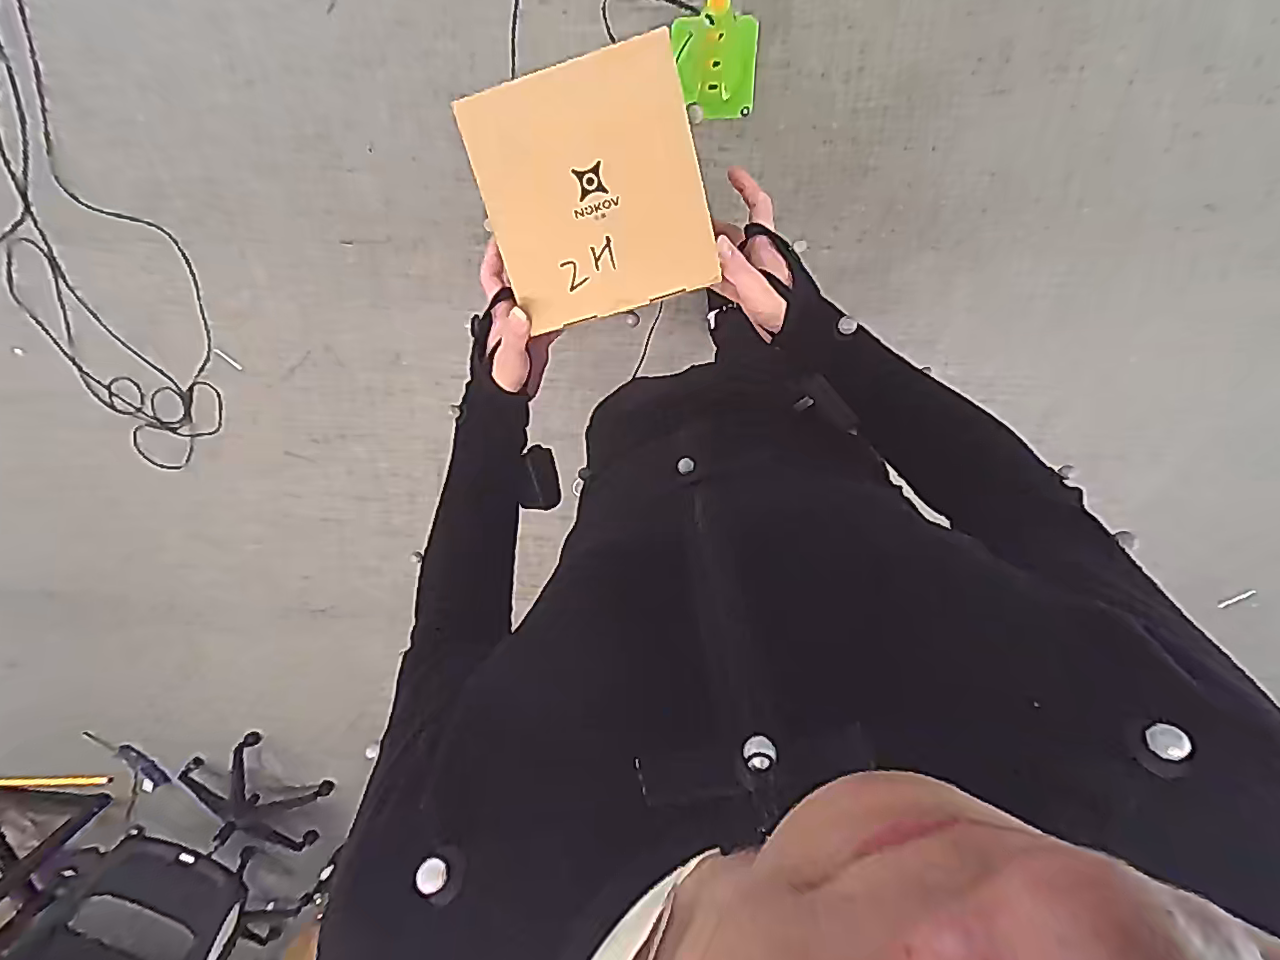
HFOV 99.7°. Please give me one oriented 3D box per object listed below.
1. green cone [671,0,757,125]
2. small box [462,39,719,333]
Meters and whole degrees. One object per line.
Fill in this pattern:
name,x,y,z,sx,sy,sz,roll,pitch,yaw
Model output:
green cone,0.152,-0.904,1.126,0.202,0.368,0.200,3,110,6
small box,-0.034,-0.242,0.494,0.168,0.176,0.179,-14,107,6
